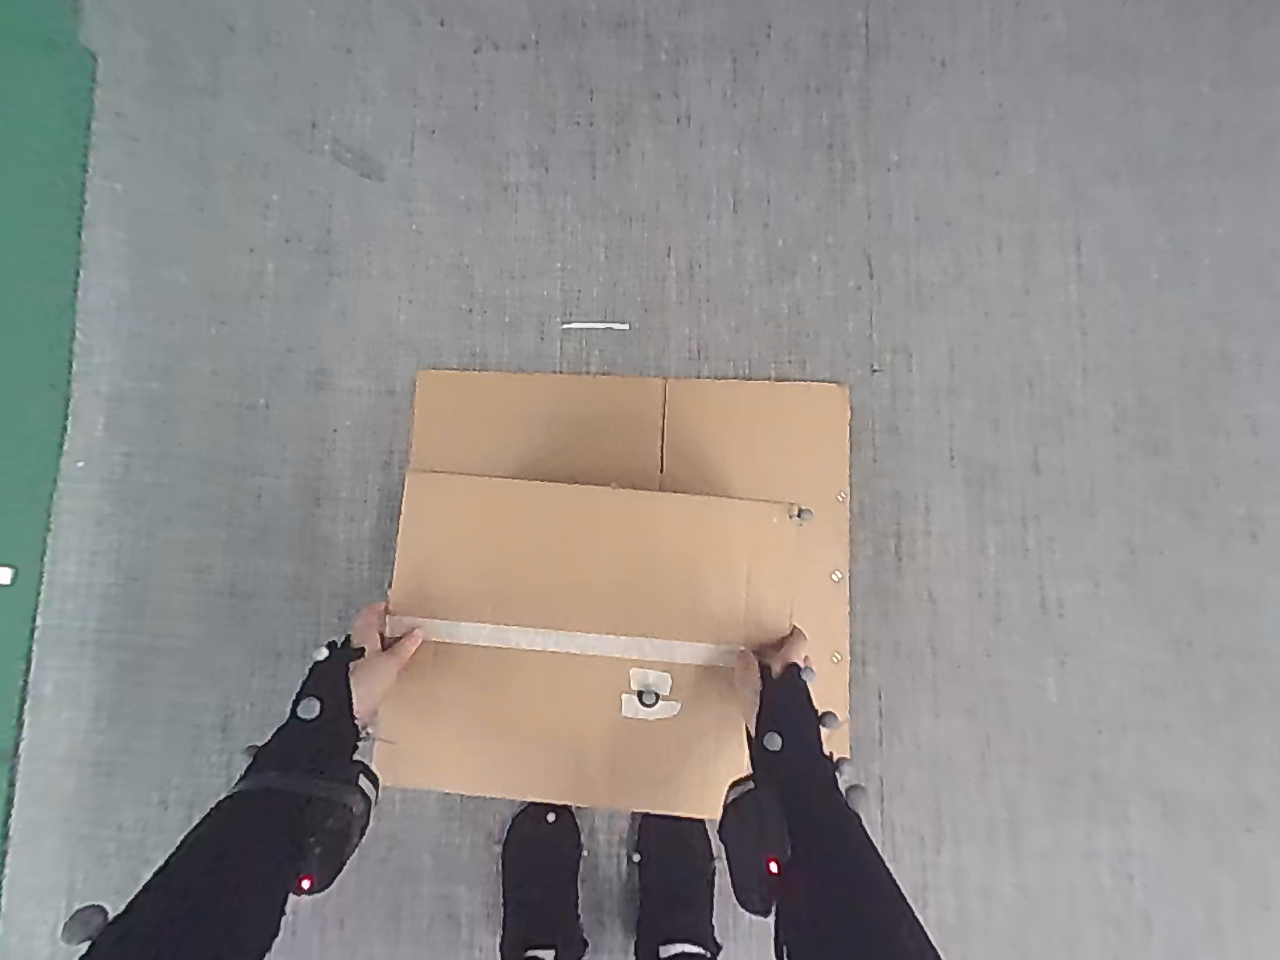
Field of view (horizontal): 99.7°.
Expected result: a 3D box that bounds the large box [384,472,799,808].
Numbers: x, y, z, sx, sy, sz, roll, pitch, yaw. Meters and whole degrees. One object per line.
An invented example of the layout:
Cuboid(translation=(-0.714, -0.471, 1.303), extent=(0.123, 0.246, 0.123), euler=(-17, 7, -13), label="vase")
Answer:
Cuboid(translation=(-0.047, 0.171, 0.690), extent=(0.408, 0.320, 0.320), euler=(5, 86, 0), label="large box")
